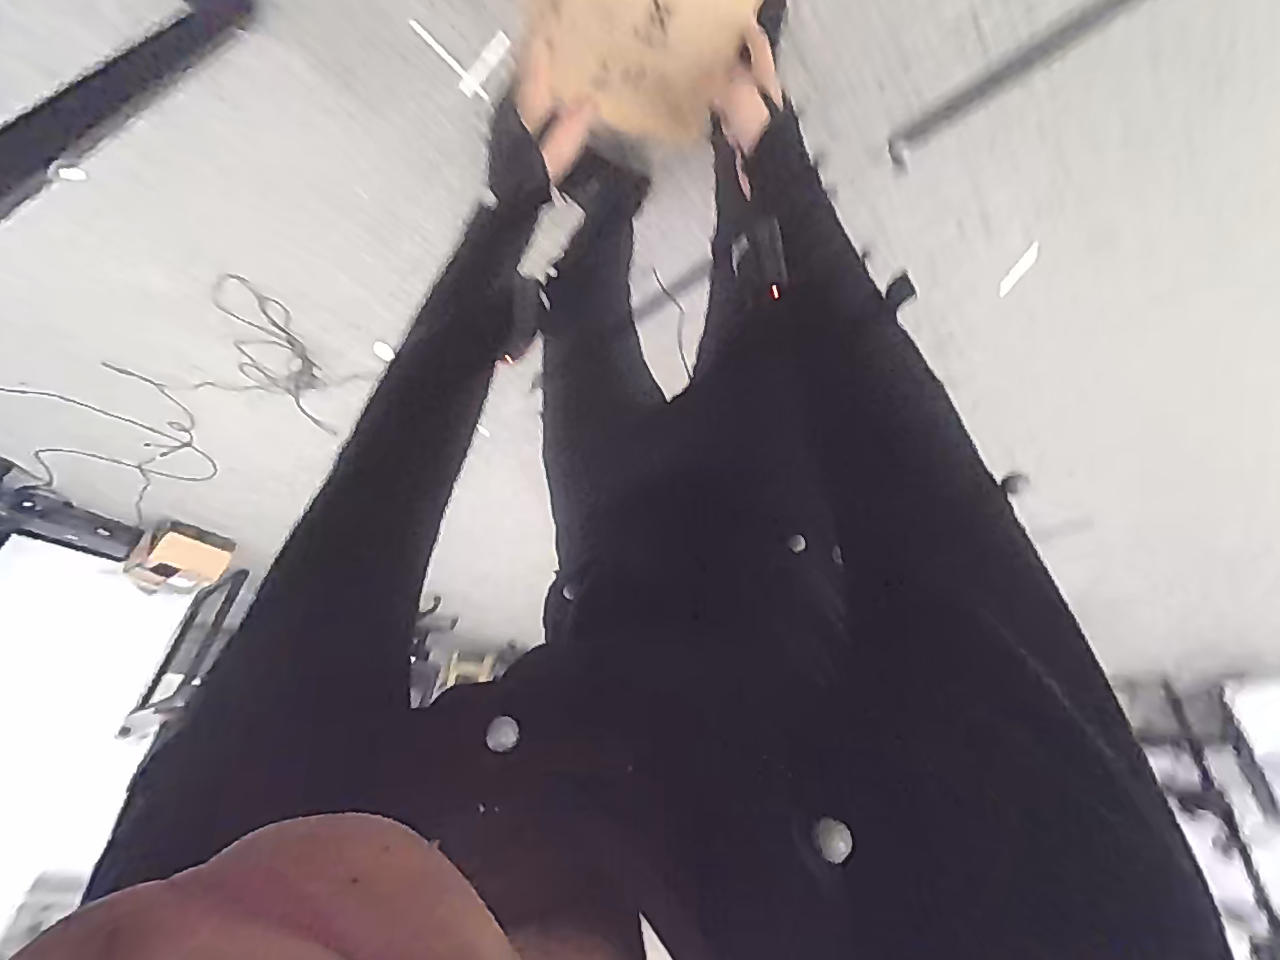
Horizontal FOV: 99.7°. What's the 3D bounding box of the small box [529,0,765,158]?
[{"bbox_3d":[-0.003,-0.456,0.511,0.168,0.176,0.179,3,147,-25],"label":"small box"}]
